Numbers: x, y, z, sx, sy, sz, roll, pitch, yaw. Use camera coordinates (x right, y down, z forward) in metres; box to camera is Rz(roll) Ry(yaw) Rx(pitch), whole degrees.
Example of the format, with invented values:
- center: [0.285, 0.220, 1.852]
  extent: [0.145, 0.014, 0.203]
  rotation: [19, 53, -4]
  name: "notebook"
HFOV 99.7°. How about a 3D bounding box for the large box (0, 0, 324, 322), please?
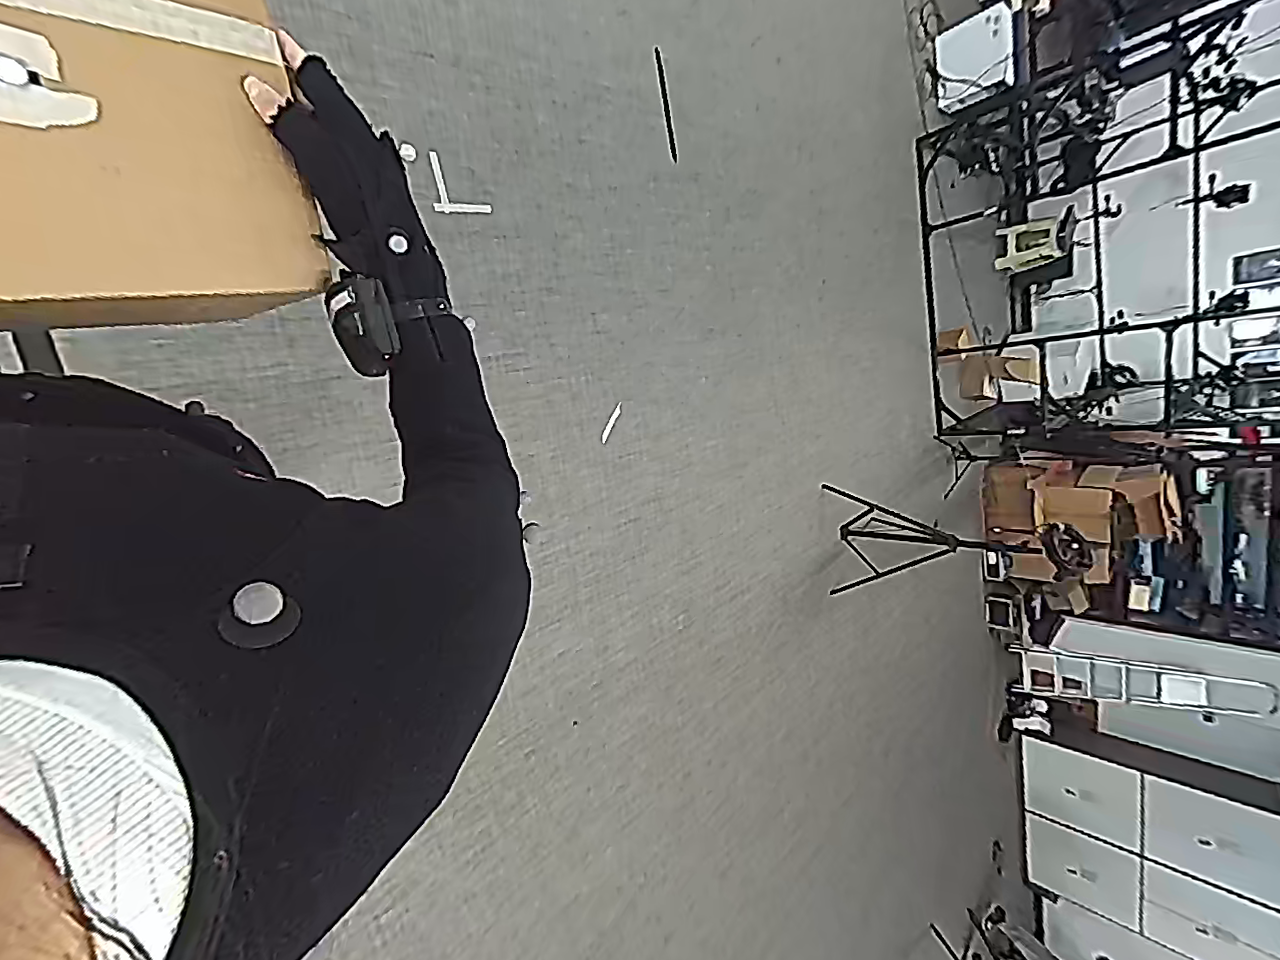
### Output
- center: [-0.504, -0.267, 0.345]
  extent: [0.408, 0.320, 0.320]
  rotation: [-22, 115, -43]
  name: "large box"
